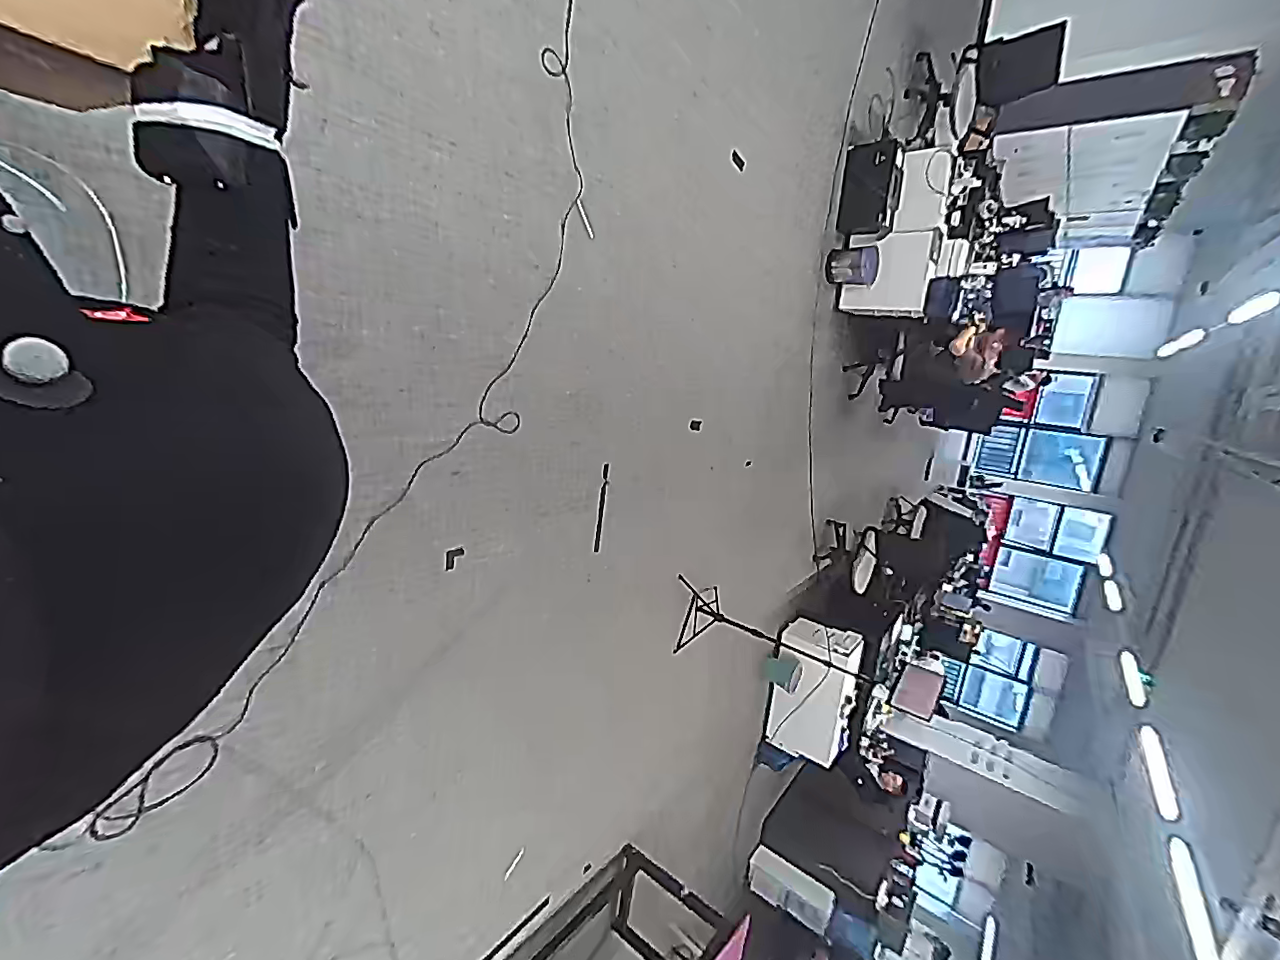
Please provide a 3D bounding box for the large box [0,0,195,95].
[{"bbox_3d":[-0.517,-0.444,0.252,0.408,0.320,0.320,-12,120,-55],"label":"large box"}]
